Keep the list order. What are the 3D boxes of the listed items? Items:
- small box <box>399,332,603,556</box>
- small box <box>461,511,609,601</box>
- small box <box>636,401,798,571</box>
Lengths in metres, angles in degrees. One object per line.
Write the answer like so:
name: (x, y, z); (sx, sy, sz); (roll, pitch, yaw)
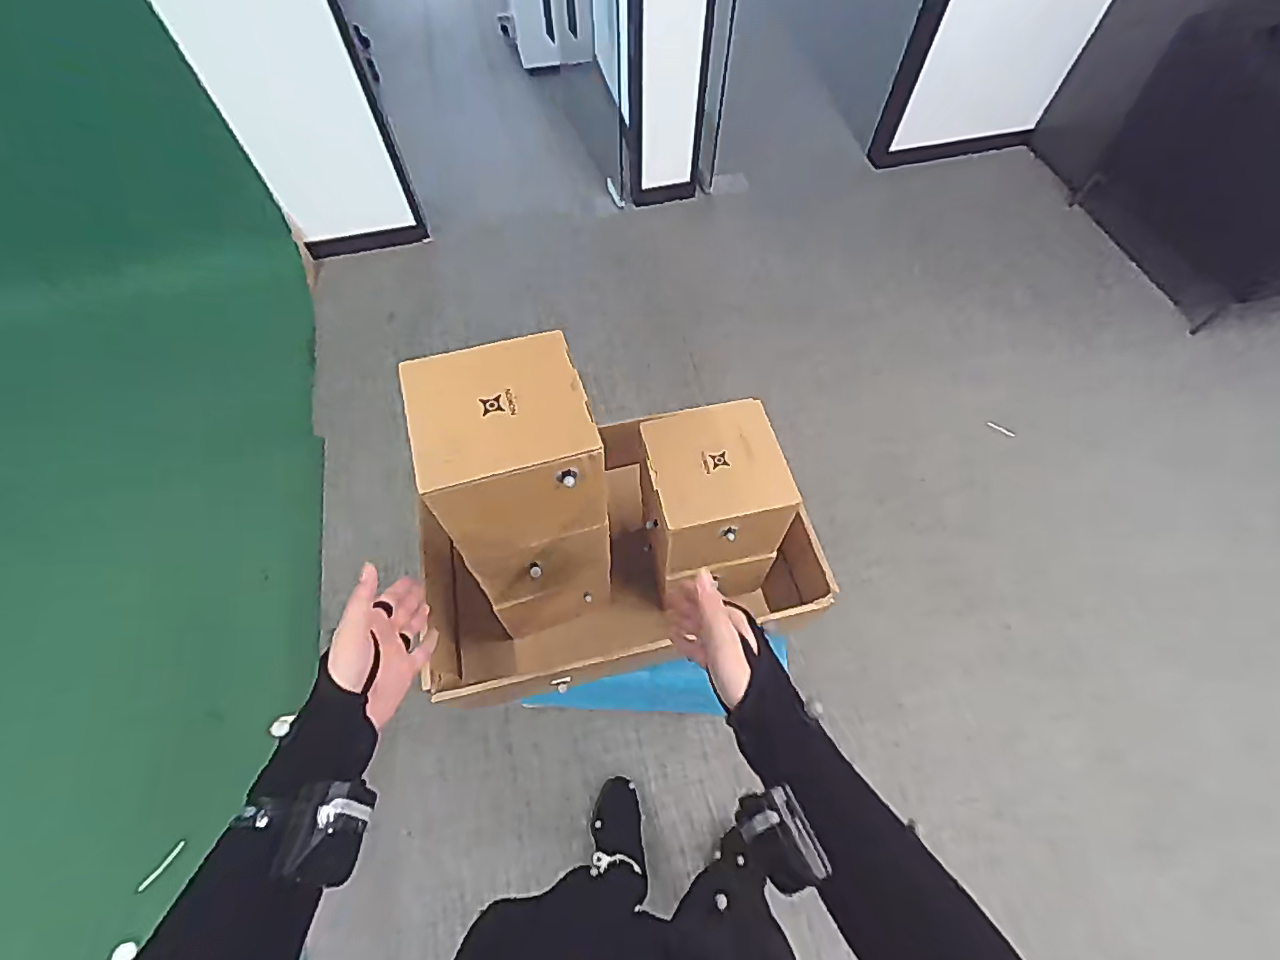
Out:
small box: (-0.146, -0.033, 0.607); (0.179, 0.176, 0.168); (-16, 62, -12)
small box: (-0.148, 0.050, 0.748); (0.179, 0.176, 0.168); (-16, 62, -10)
small box: (0.098, 0.016, 0.766); (0.179, 0.176, 0.168); (-11, 61, -5)
